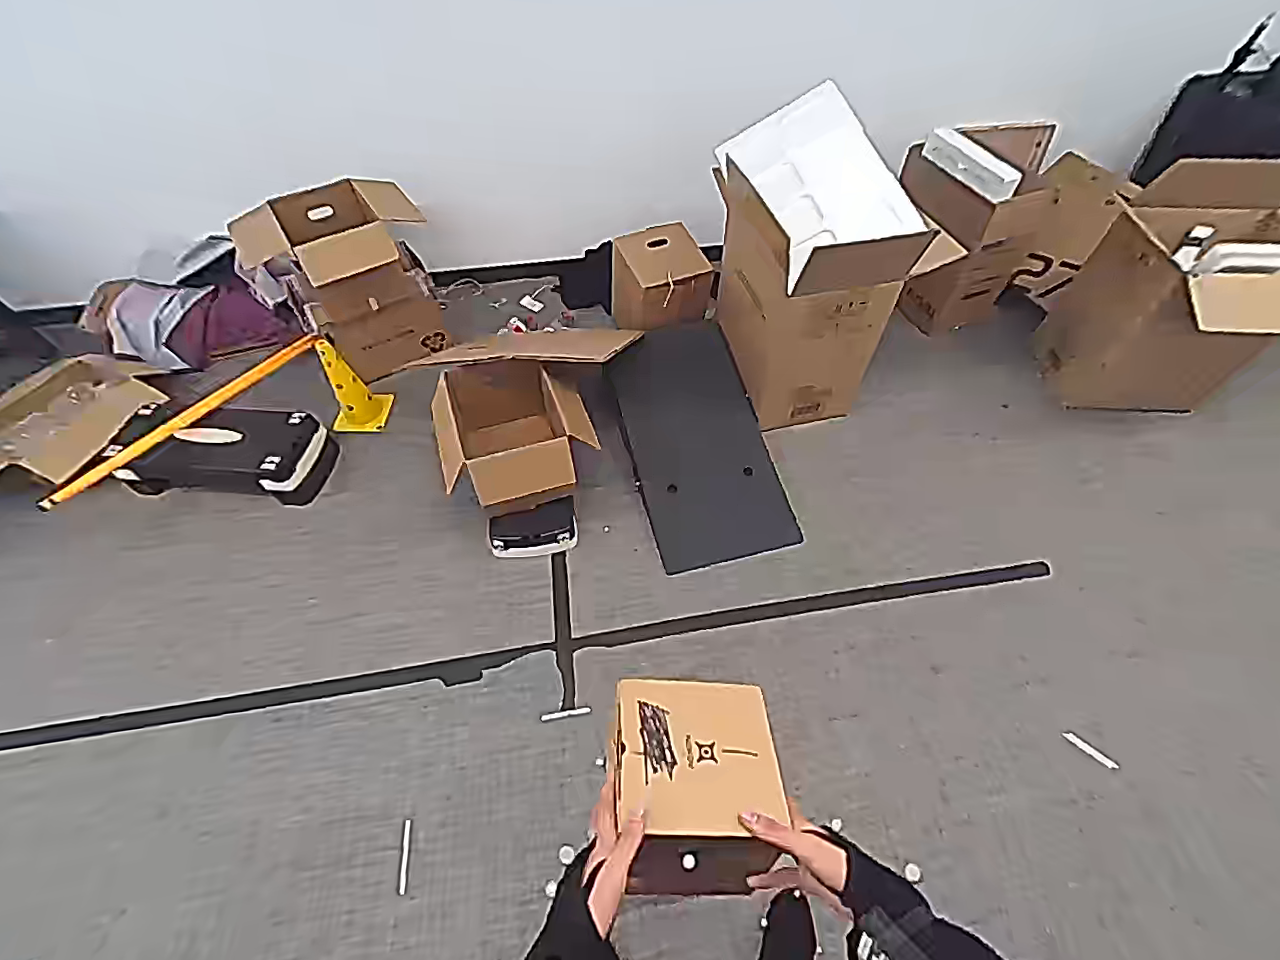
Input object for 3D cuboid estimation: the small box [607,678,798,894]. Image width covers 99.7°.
[{"bbox_3d":[0.055,0.351,0.620,0.179,0.176,0.168,5,37,-7],"label":"small box"}]
